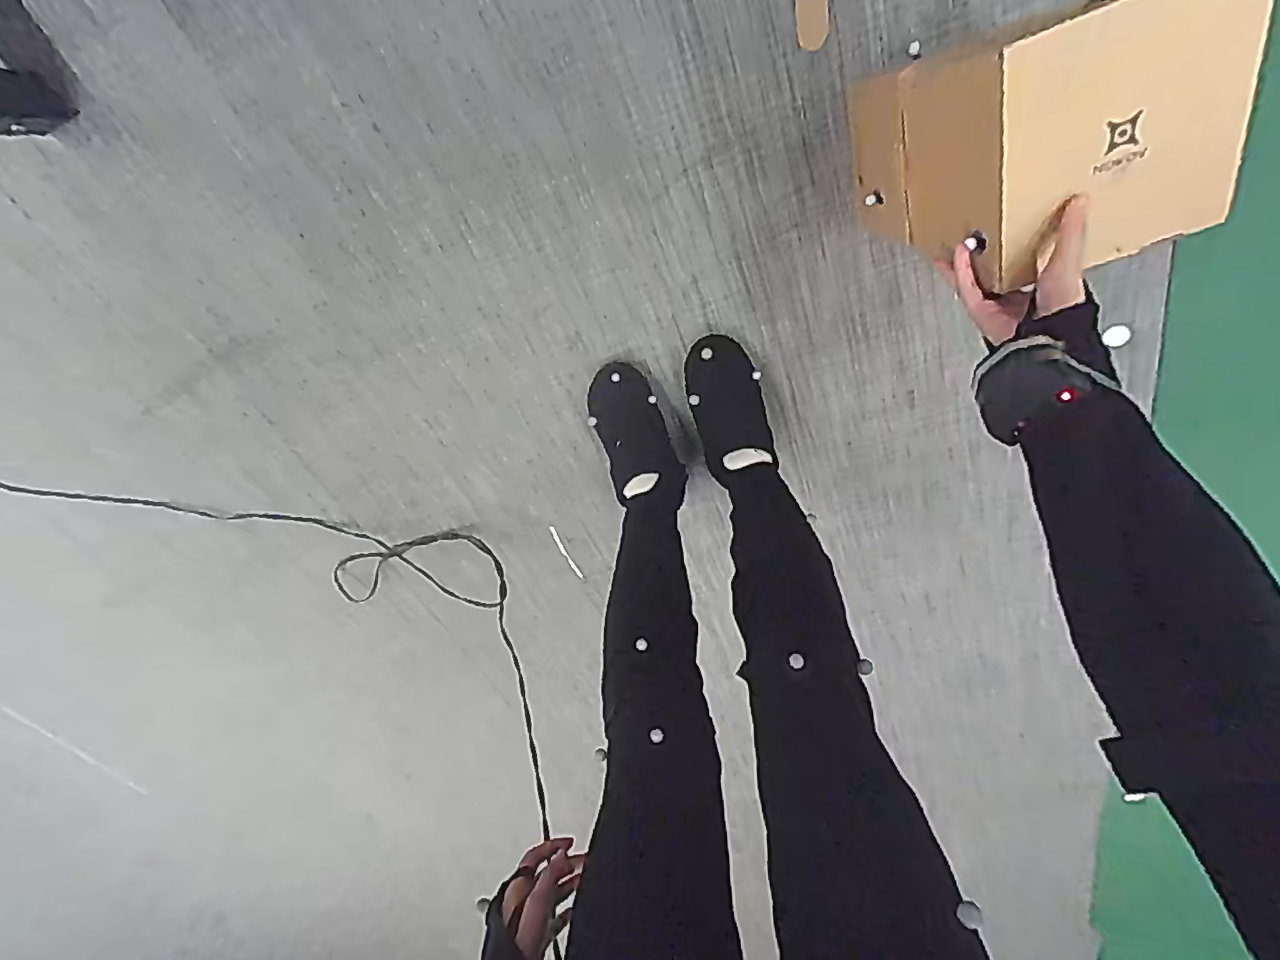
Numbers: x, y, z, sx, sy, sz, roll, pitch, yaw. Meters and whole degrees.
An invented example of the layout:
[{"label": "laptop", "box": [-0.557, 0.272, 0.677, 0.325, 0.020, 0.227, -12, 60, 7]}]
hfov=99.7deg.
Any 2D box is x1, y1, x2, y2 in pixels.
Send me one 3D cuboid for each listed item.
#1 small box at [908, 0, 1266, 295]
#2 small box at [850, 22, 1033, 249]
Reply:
[{"label": "small box", "box": [0.347, -0.287, 0.462, 0.168, 0.176, 0.179, -17, 122, 11]}, {"label": "small box", "box": [0.344, -0.375, 0.598, 0.179, 0.176, 0.168, -14, 121, 10]}]
